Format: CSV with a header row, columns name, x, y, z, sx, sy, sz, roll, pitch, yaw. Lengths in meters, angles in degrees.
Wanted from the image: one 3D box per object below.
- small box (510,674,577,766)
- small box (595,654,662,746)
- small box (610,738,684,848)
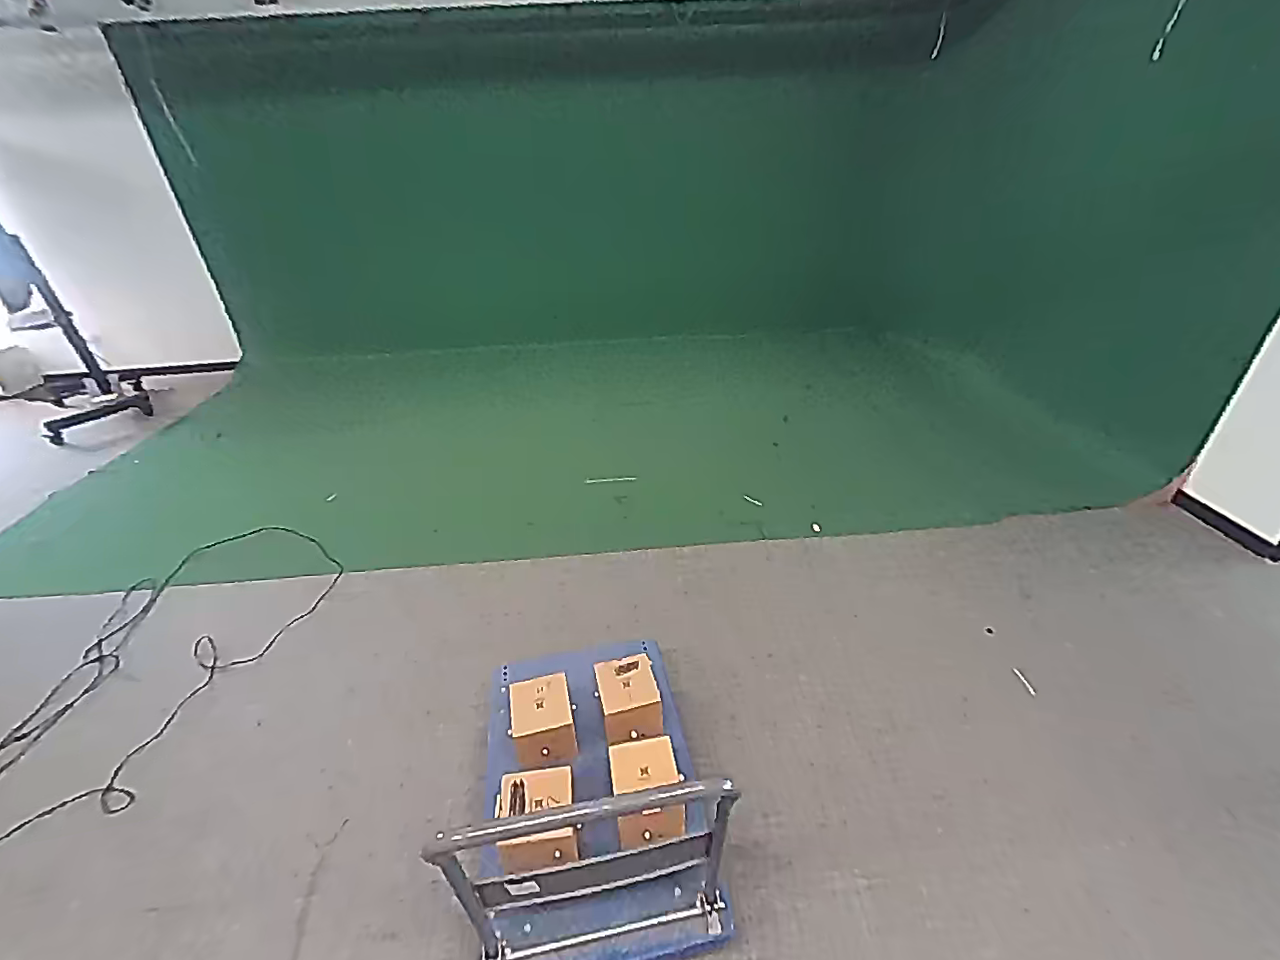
name,x,y,z,sx,sy,sz,roll,pitch,yaw
small box,-0.279,0.700,1.565,0.168,0.176,0.179,-9,33,-11
small box,-0.035,0.658,1.613,0.168,0.176,0.179,-10,35,-10
small box,0.014,0.802,1.390,0.168,0.176,0.179,-7,33,-7
